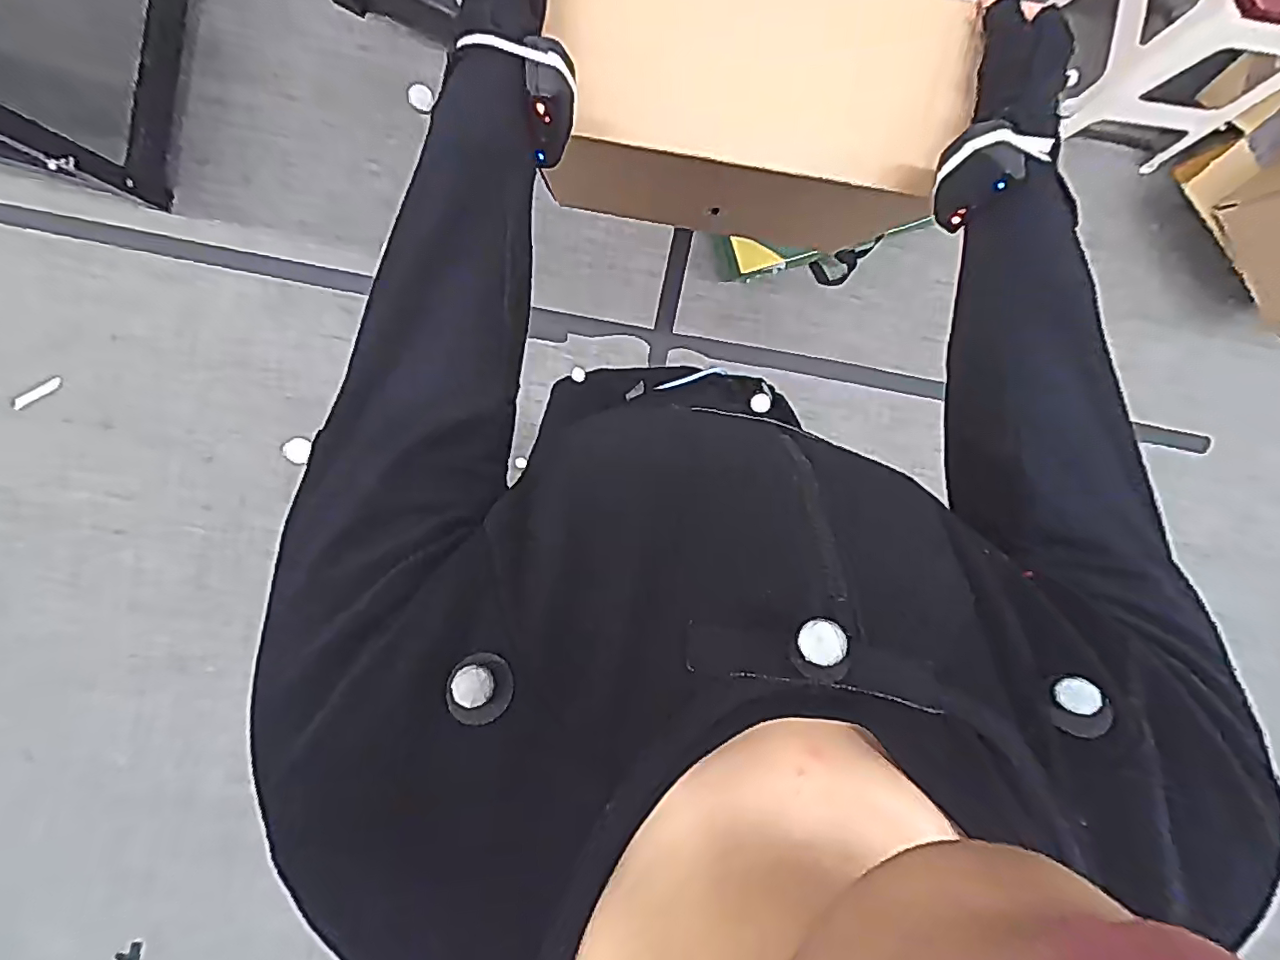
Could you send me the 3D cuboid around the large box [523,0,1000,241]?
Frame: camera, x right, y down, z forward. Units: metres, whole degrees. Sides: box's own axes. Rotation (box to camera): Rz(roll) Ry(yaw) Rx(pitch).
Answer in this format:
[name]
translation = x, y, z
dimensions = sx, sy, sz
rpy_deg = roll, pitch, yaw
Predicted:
[large box]
translation = 0.109, -0.472, 0.594
dimensions = 0.408, 0.320, 0.320
rpy_deg = 8, 104, -4
